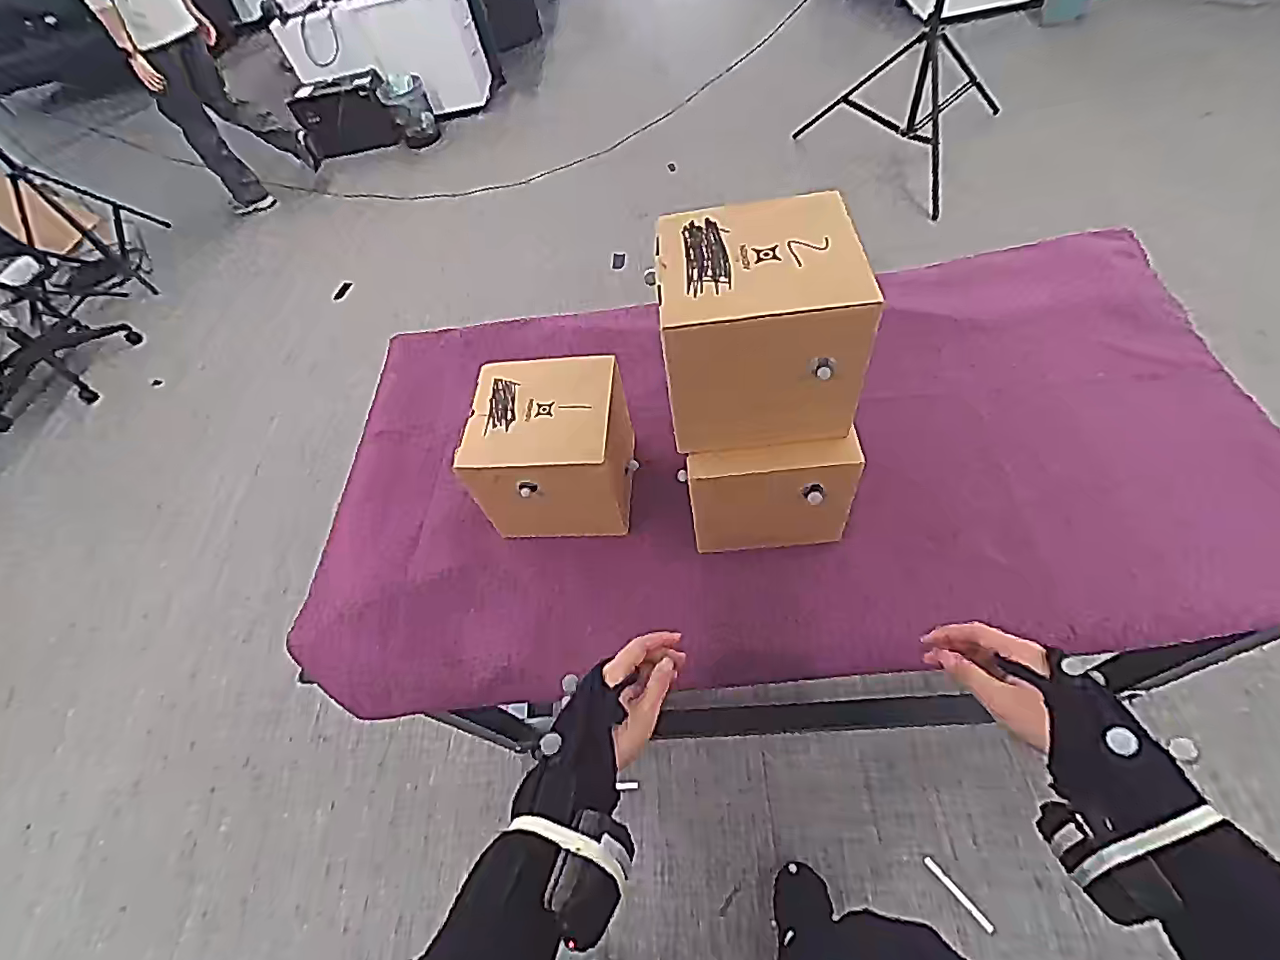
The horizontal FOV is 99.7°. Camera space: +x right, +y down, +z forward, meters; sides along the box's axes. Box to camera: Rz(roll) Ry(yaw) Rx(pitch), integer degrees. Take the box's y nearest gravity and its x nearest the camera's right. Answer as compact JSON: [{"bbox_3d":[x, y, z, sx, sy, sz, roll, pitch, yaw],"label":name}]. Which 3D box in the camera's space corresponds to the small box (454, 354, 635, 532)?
[{"bbox_3d":[-0.108,-0.041,0.700,0.179,0.176,0.168,-1,56,8],"label":"small box"}]

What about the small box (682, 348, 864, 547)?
[{"bbox_3d":[0.146,-0.033,0.649,0.179,0.176,0.168,-5,54,7],"label":"small box"}]

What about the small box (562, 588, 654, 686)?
[{"bbox_3d":[-0.063,0.348,1.188,0.179,0.176,0.168,-7,57,6],"label":"small box"}]
